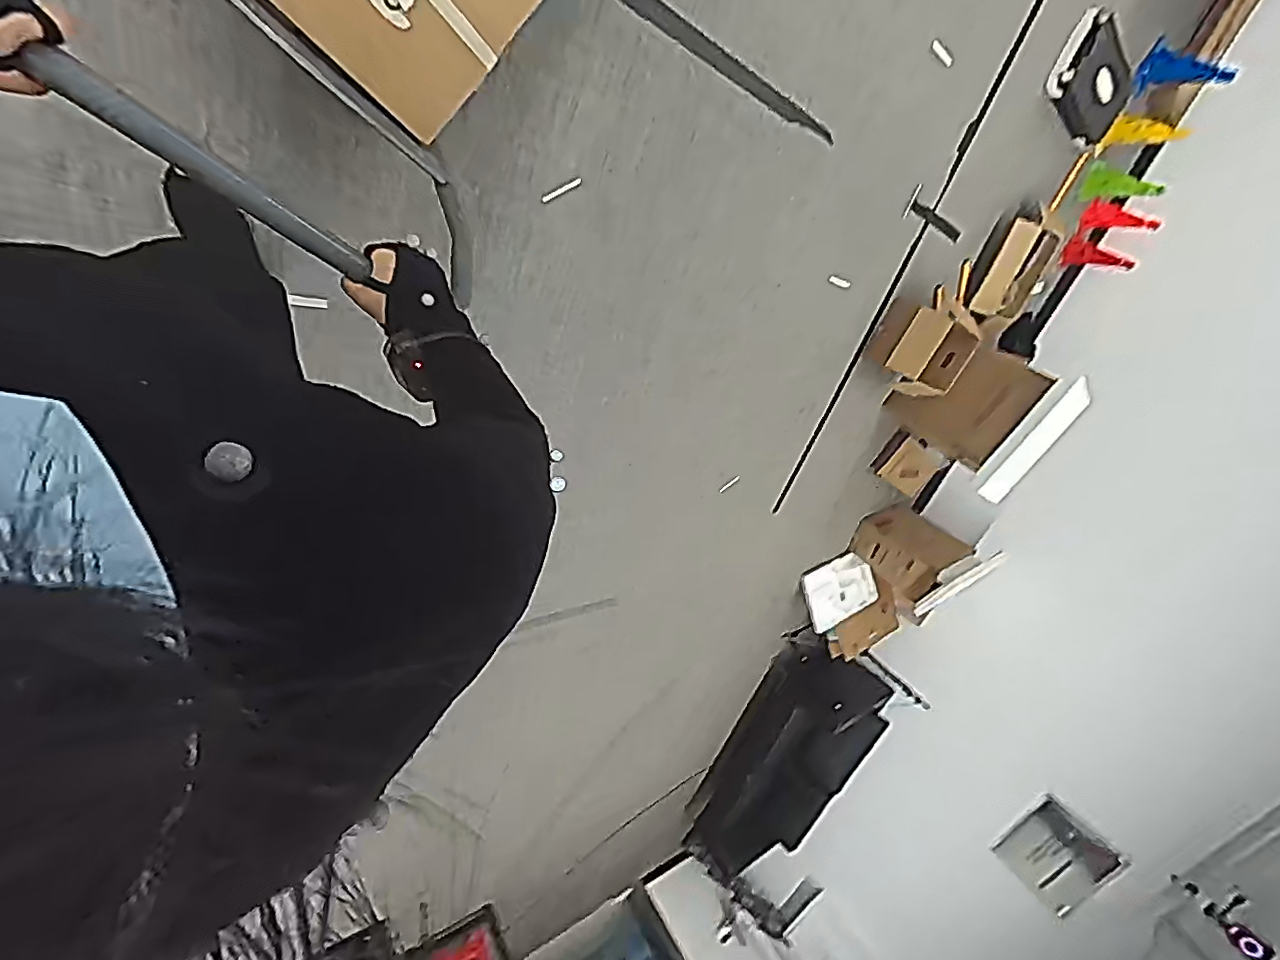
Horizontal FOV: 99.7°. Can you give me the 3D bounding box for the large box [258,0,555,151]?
[{"bbox_3d":[-0.381,-0.763,0.721,0.320,0.320,0.408,-40,145,15],"label":"large box"}]
